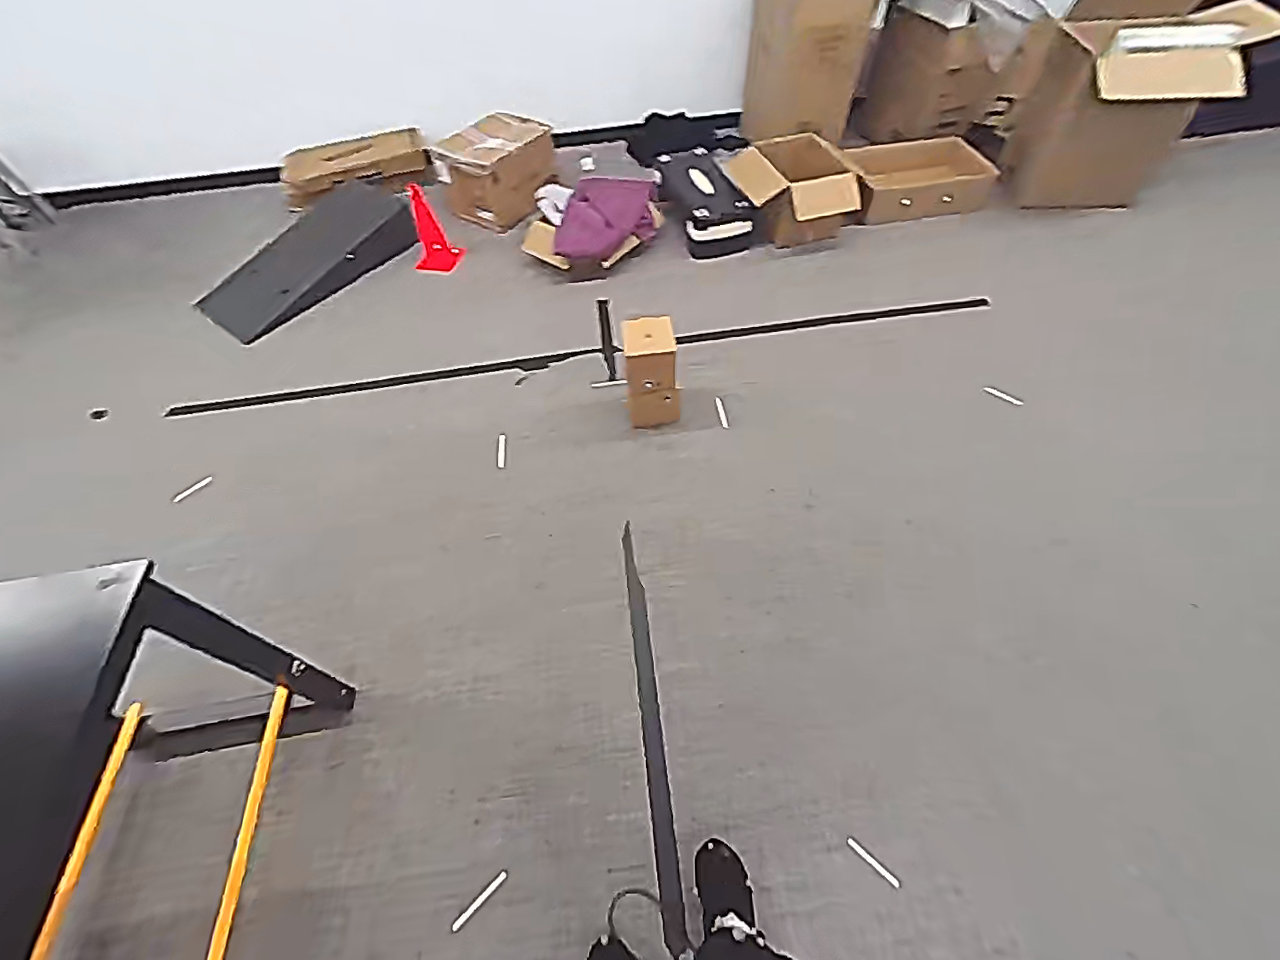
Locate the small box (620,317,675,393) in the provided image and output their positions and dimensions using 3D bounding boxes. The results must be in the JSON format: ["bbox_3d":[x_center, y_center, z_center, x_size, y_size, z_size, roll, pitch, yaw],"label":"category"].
[{"bbox_3d":[0.025,-0.416,1.811,0.168,0.176,0.179,-8,56,-1],"label":"small box"}]

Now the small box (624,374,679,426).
[{"bbox_3d":[0.039,-0.313,1.936,0.179,0.176,0.168,-9,55,-3],"label":"small box"}]
